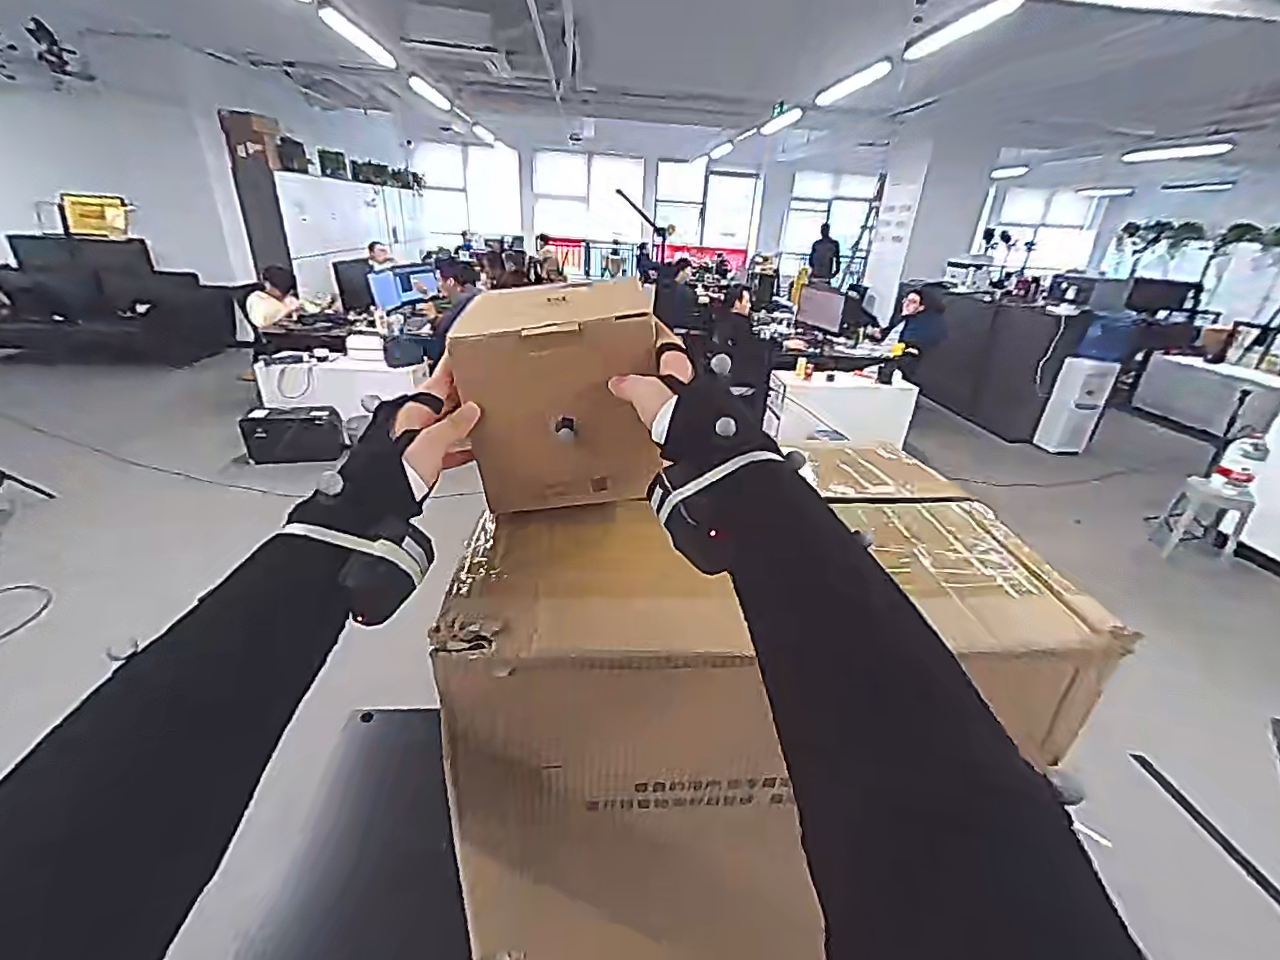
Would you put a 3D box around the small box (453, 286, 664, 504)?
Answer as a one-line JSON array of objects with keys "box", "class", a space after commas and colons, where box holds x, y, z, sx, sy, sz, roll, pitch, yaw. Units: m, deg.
[{"box": [-0.069, -0.085, 0.545, 0.168, 0.176, 0.179, -6, 30, -2], "class": "small box"}]
